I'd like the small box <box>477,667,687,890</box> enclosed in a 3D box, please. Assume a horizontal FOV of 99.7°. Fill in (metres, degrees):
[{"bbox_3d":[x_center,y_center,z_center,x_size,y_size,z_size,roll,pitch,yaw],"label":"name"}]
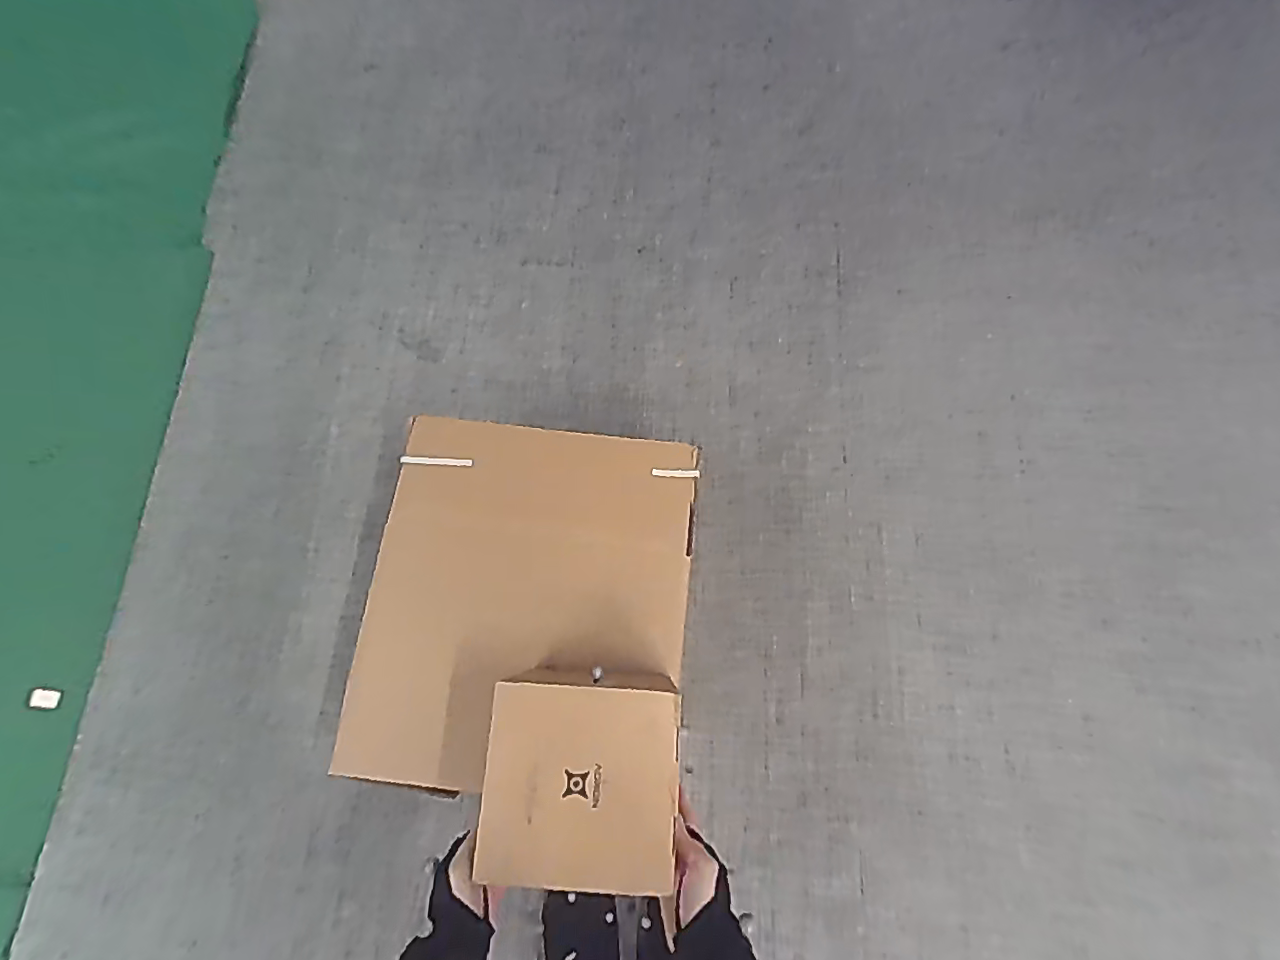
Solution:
[{"bbox_3d":[-0.050,0.288,0.560,0.179,0.176,0.168,3,74,1],"label":"small box"}]
